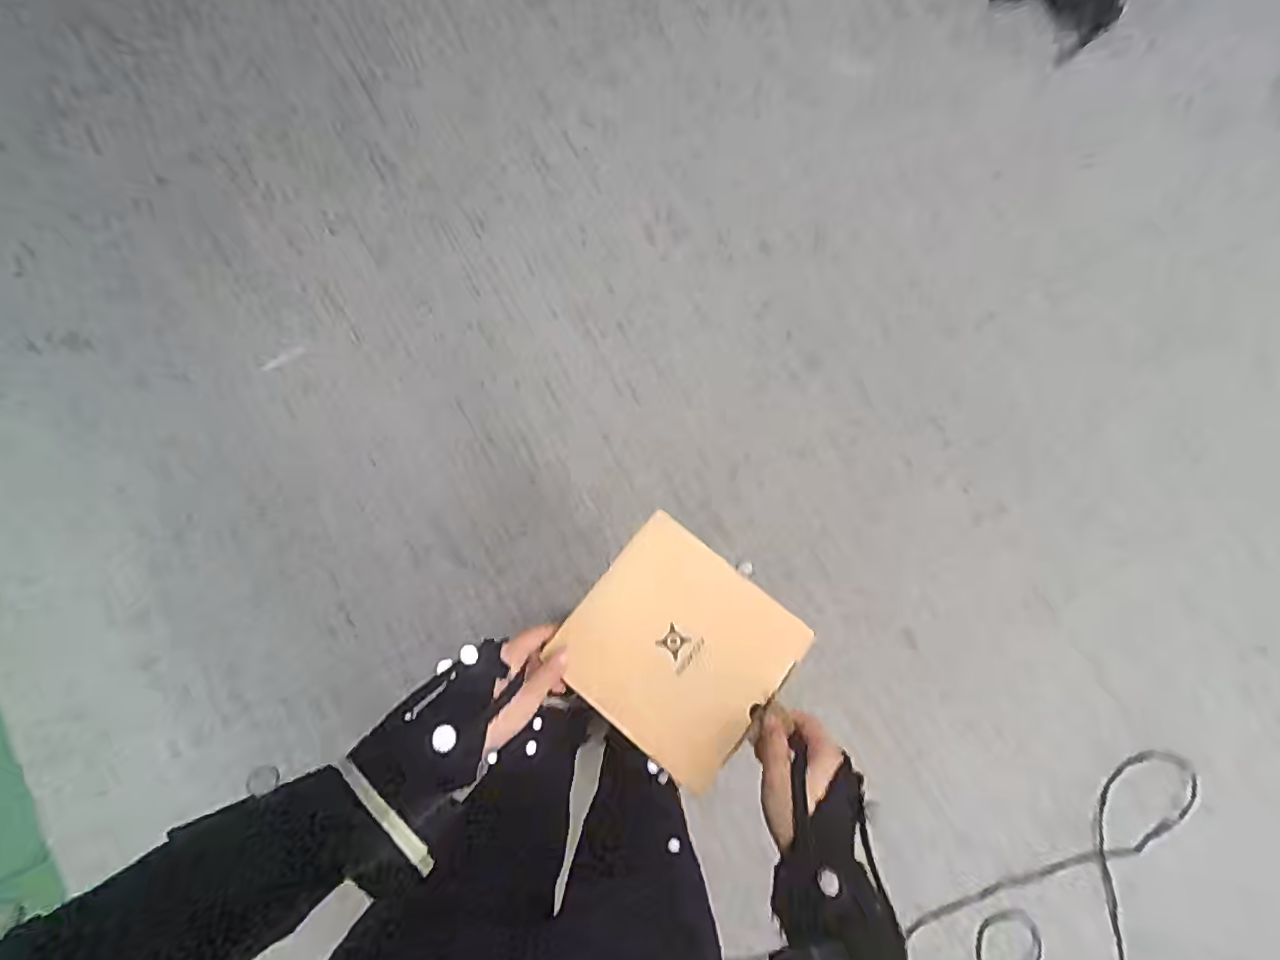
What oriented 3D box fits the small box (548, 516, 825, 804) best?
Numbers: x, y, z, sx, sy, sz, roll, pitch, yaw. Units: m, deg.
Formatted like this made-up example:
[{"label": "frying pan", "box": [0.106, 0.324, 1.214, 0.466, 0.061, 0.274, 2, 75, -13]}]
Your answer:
[{"label": "small box", "box": [0.039, 0.161, 0.527, 0.179, 0.176, 0.168, 38, 81, 8]}]
